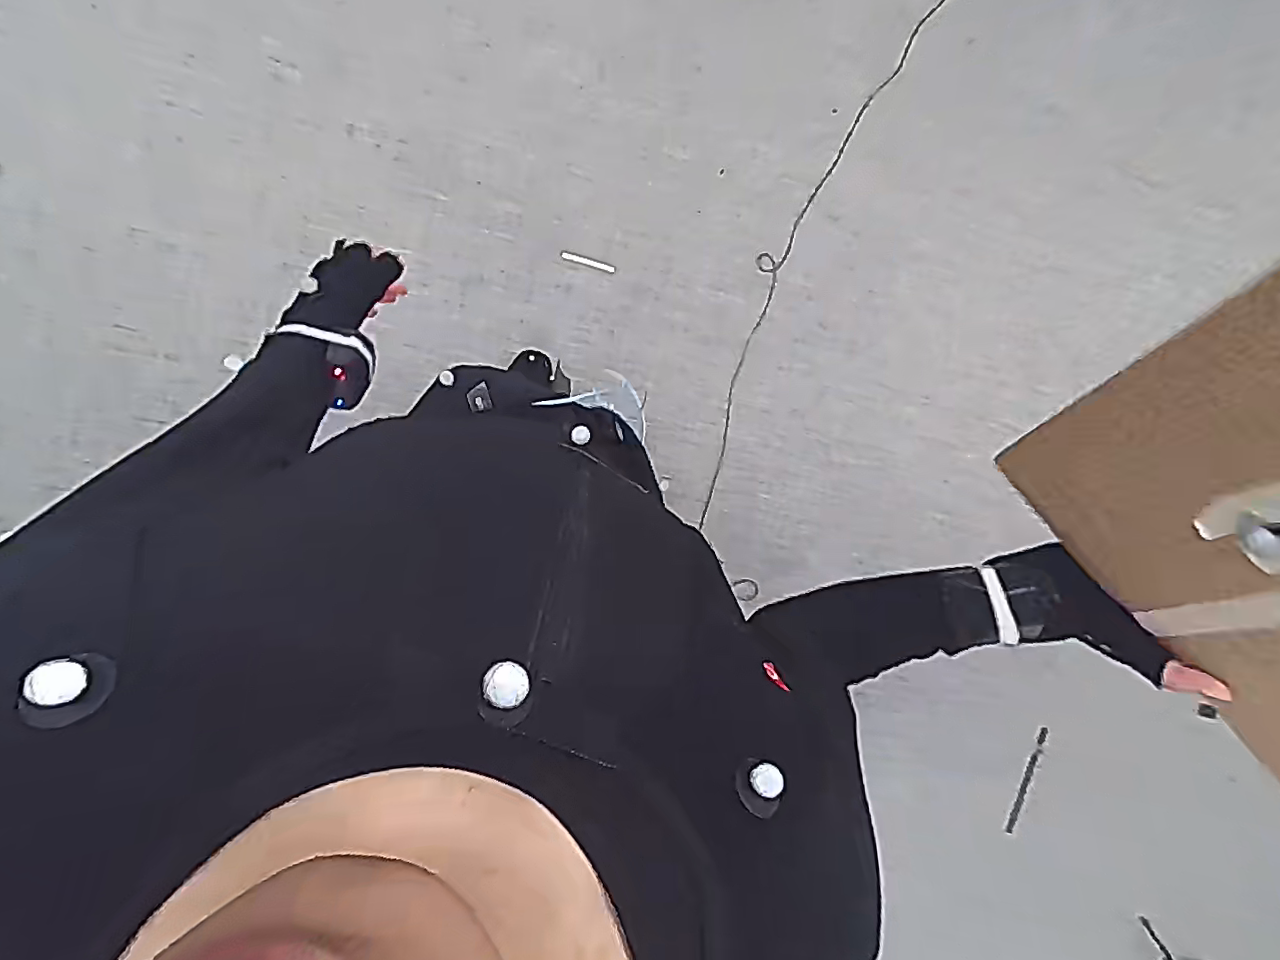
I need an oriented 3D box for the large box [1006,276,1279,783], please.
[{"bbox_3d":[0.495,-0.027,0.238,0.320,0.408,0.320,-29,74,-3],"label":"large box"}]
